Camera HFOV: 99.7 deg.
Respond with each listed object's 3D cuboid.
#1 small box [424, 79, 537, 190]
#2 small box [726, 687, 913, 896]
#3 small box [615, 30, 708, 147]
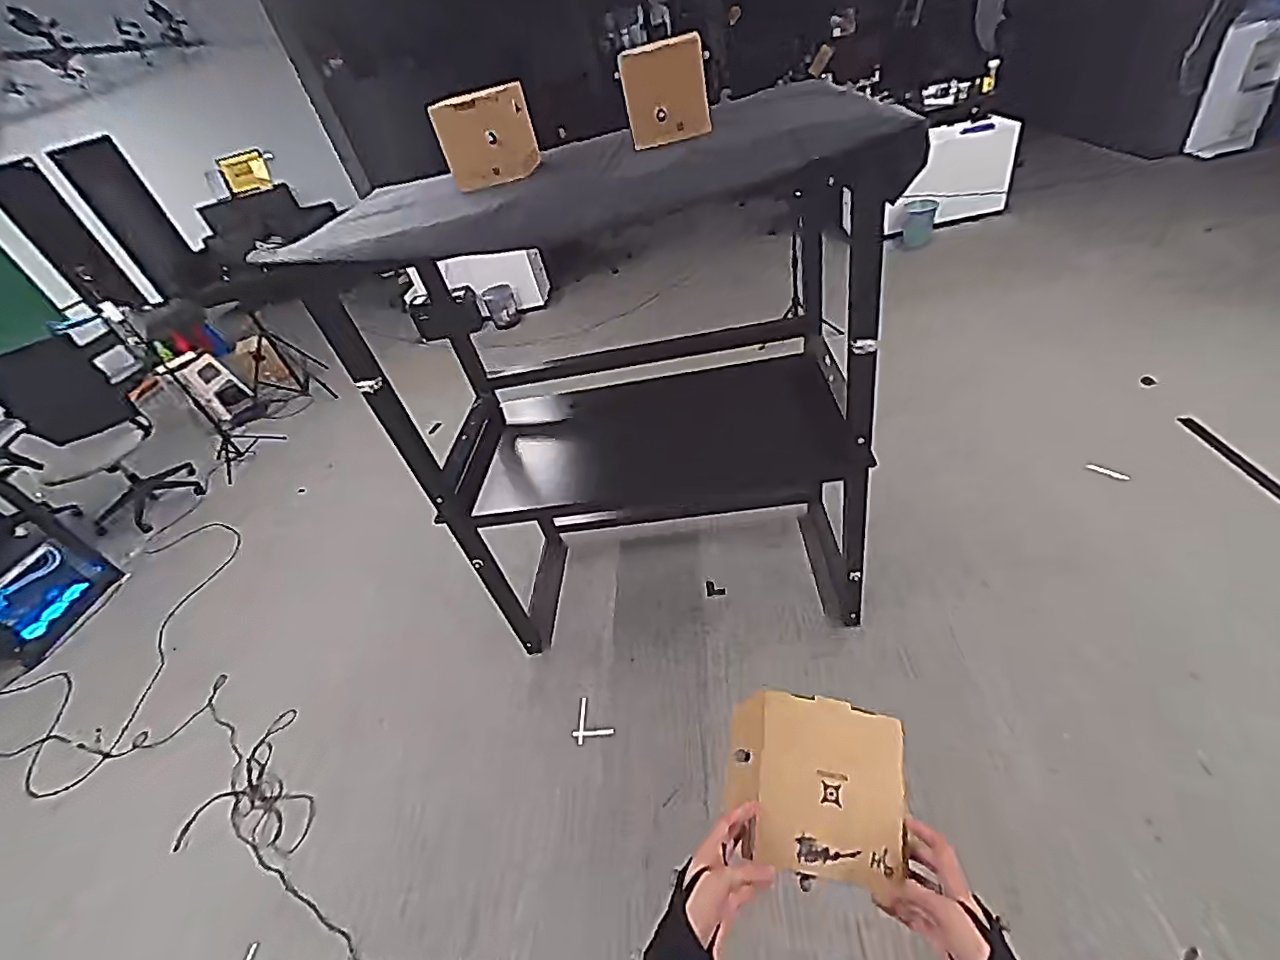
[{"bbox_3d":[-0.346,-0.770,1.215,0.168,0.176,0.179,-6,41,11],"label":"small box"},{"bbox_3d":[0.210,0.374,0.666,0.168,0.176,0.179,12,60,2],"label":"small box"},{"bbox_3d":[0.051,-0.831,1.153,0.168,0.176,0.179,-8,41,10],"label":"small box"}]
